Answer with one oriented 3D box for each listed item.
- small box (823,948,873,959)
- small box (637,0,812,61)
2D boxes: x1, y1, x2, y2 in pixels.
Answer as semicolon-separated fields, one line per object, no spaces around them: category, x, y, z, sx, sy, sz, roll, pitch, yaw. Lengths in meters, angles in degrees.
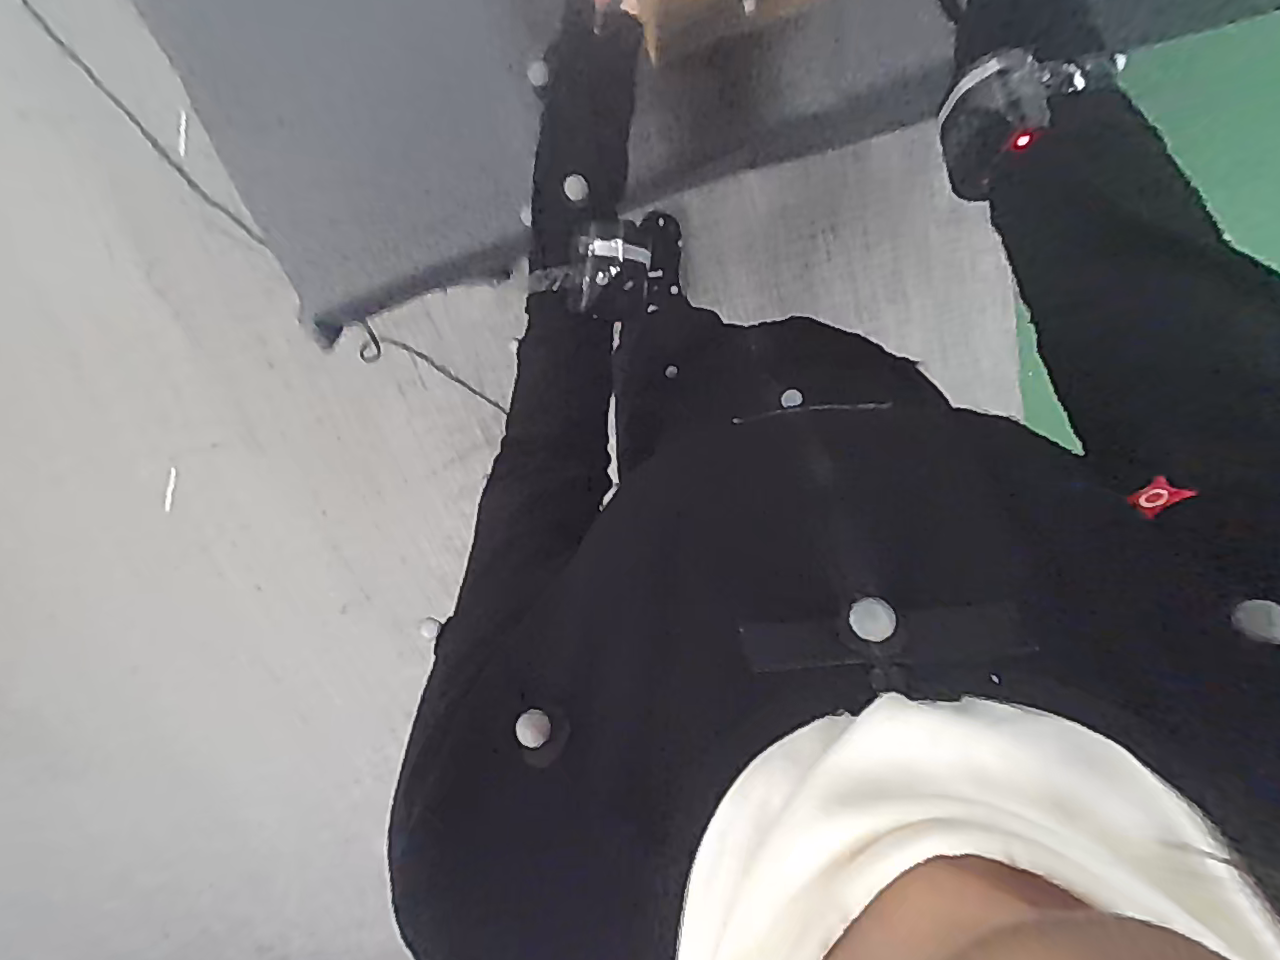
small box;0.736;1.756;1.854;0.179;0.176;0.168;-13;110;6
small box;0.072;-0.479;0.426;0.179;0.176;0.168;-16;109;7
